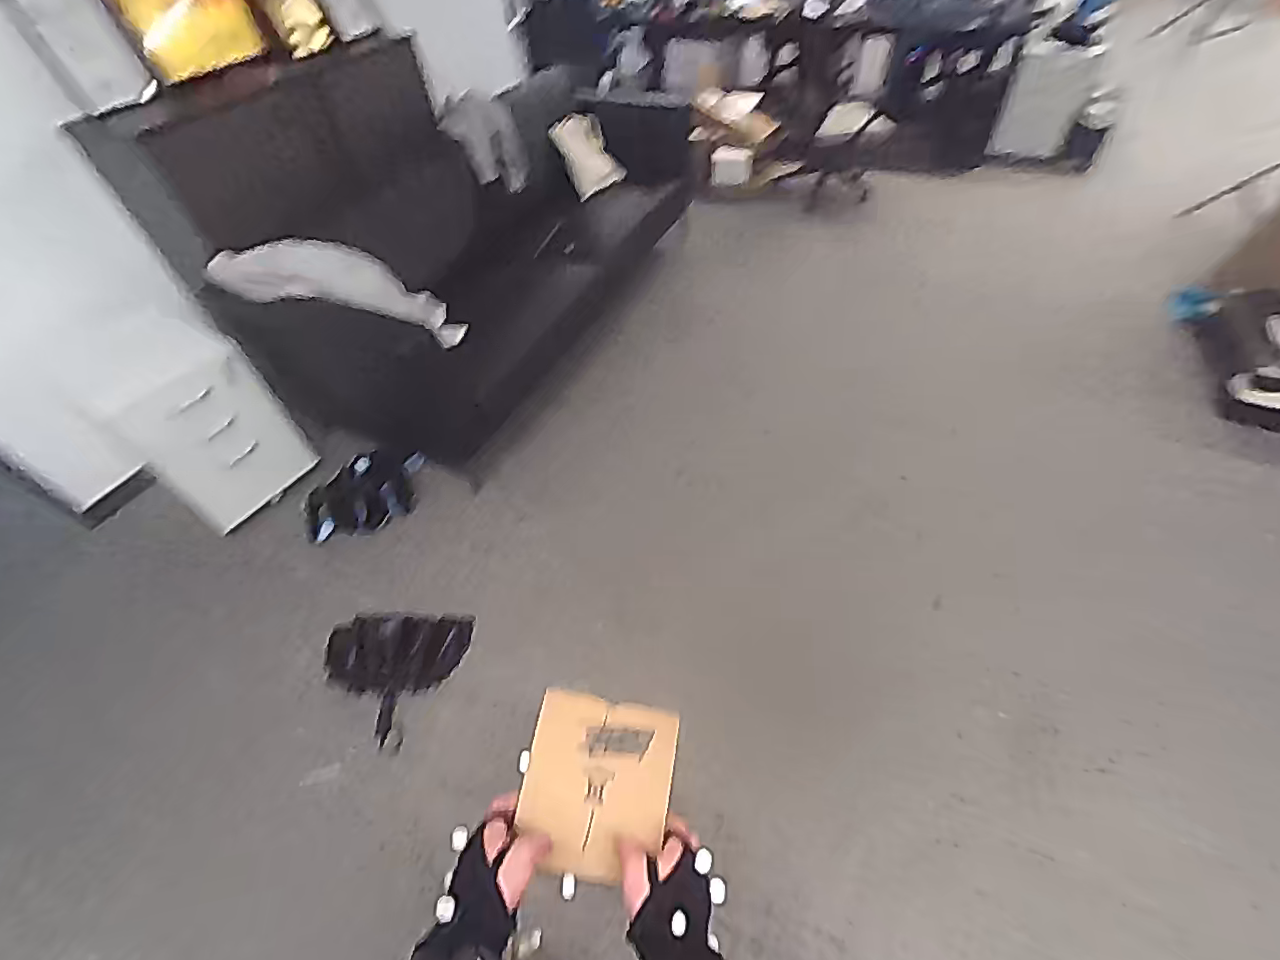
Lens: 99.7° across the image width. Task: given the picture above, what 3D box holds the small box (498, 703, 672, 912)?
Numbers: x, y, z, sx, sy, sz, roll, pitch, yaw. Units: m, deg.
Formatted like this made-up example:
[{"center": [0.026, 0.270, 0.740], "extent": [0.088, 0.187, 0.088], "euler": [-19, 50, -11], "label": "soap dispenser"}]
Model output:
[{"center": [-0.067, 0.396, 0.663], "extent": [0.168, 0.176, 0.179], "euler": [13, 56, -2], "label": "small box"}]
